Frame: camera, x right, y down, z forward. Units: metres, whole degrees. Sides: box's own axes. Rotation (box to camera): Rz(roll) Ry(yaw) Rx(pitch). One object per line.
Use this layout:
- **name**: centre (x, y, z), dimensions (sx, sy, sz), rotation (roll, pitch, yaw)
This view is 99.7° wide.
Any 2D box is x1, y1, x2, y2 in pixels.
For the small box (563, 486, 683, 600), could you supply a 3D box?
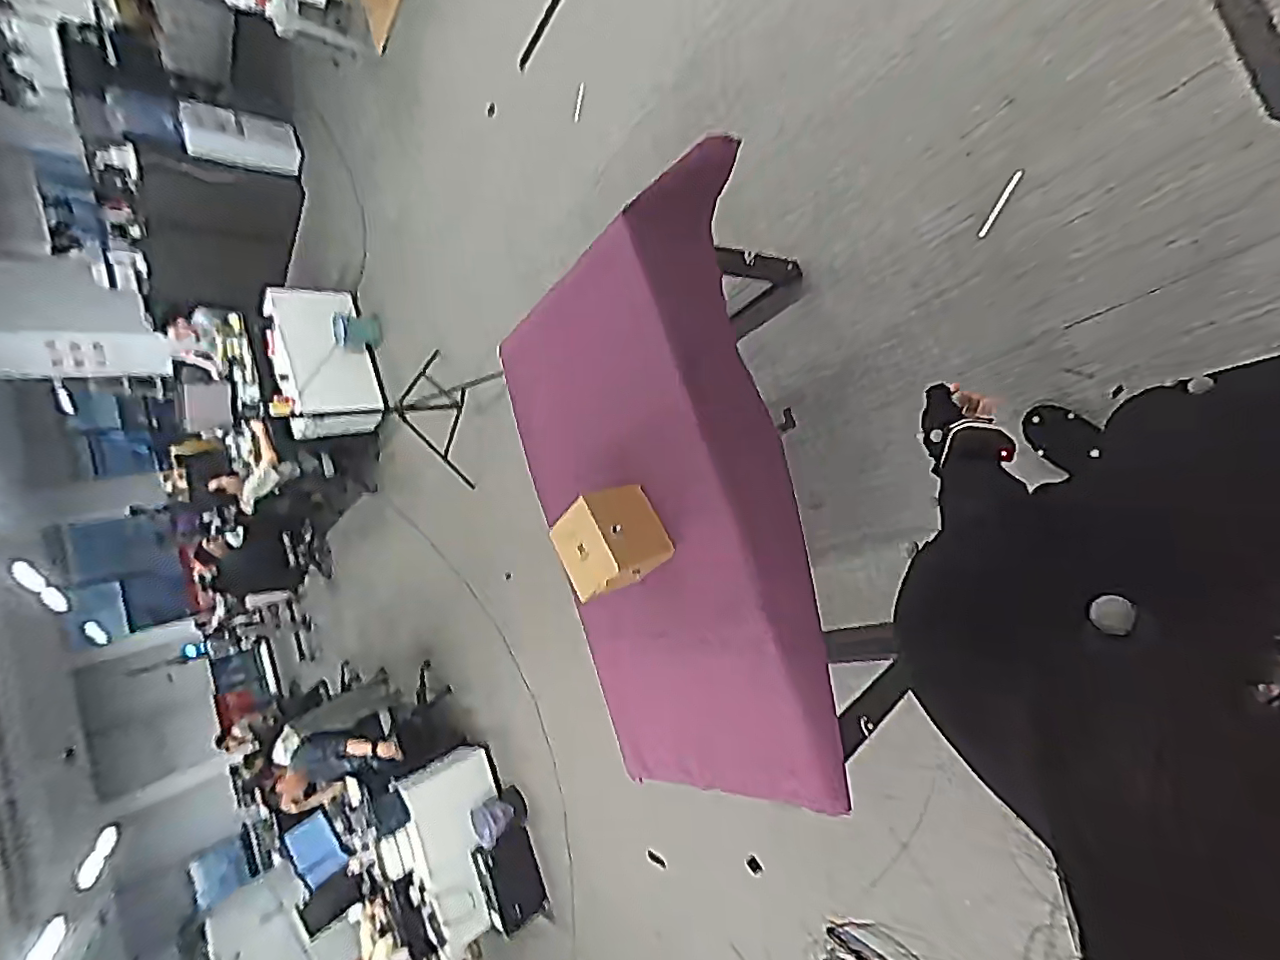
- **small box**: centre (-0.036, 0.133, 1.185), dimensions (0.168, 0.176, 0.179), rotation (-46, 65, 43)
